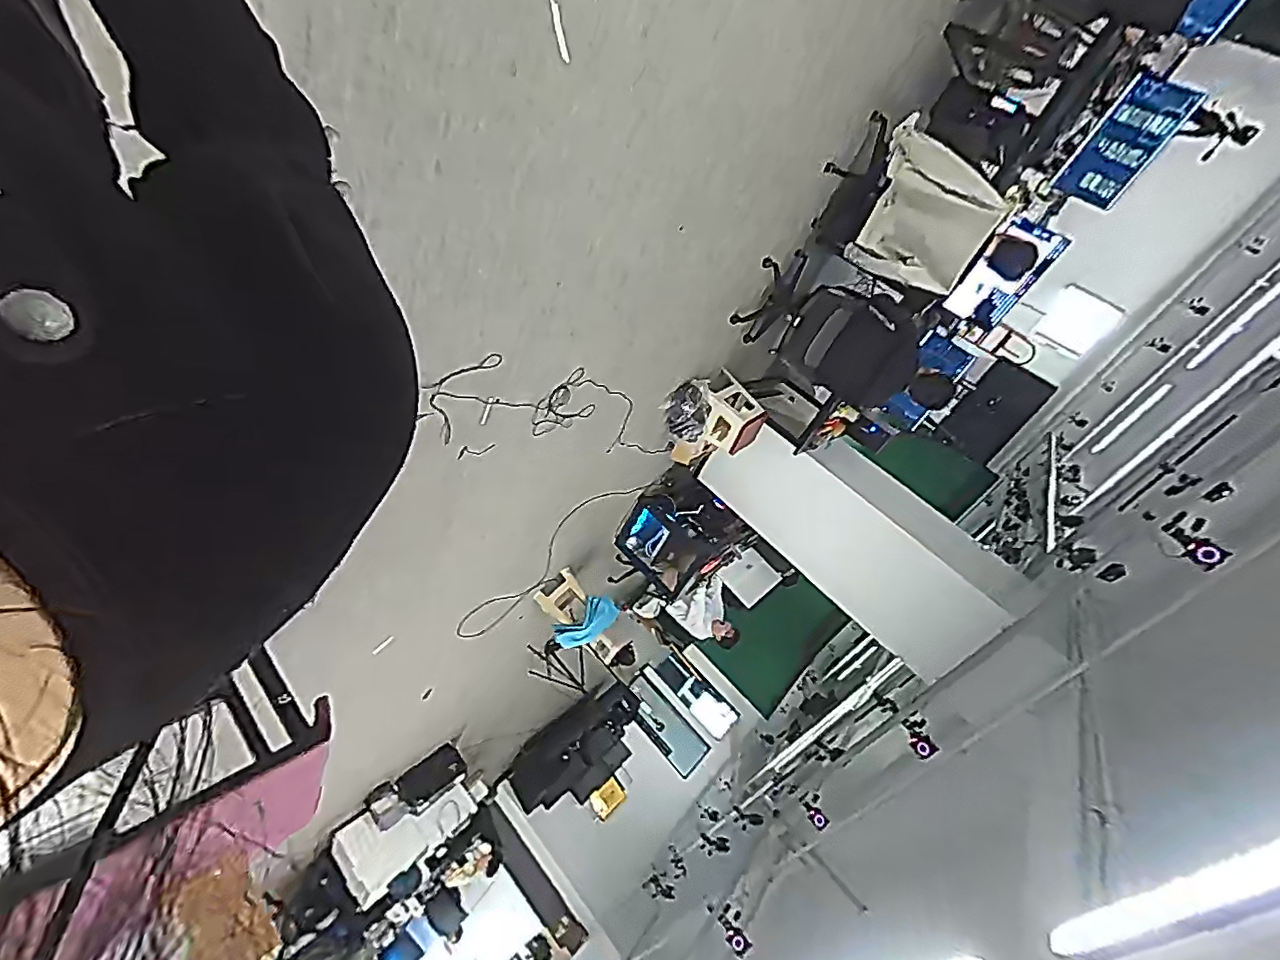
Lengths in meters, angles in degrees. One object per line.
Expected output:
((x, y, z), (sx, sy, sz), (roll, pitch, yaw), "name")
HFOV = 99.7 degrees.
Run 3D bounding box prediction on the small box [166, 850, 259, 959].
((-1.276, 1.256, 1.608), (0.168, 0.176, 0.179), (-15, 140, -56), "small box")
